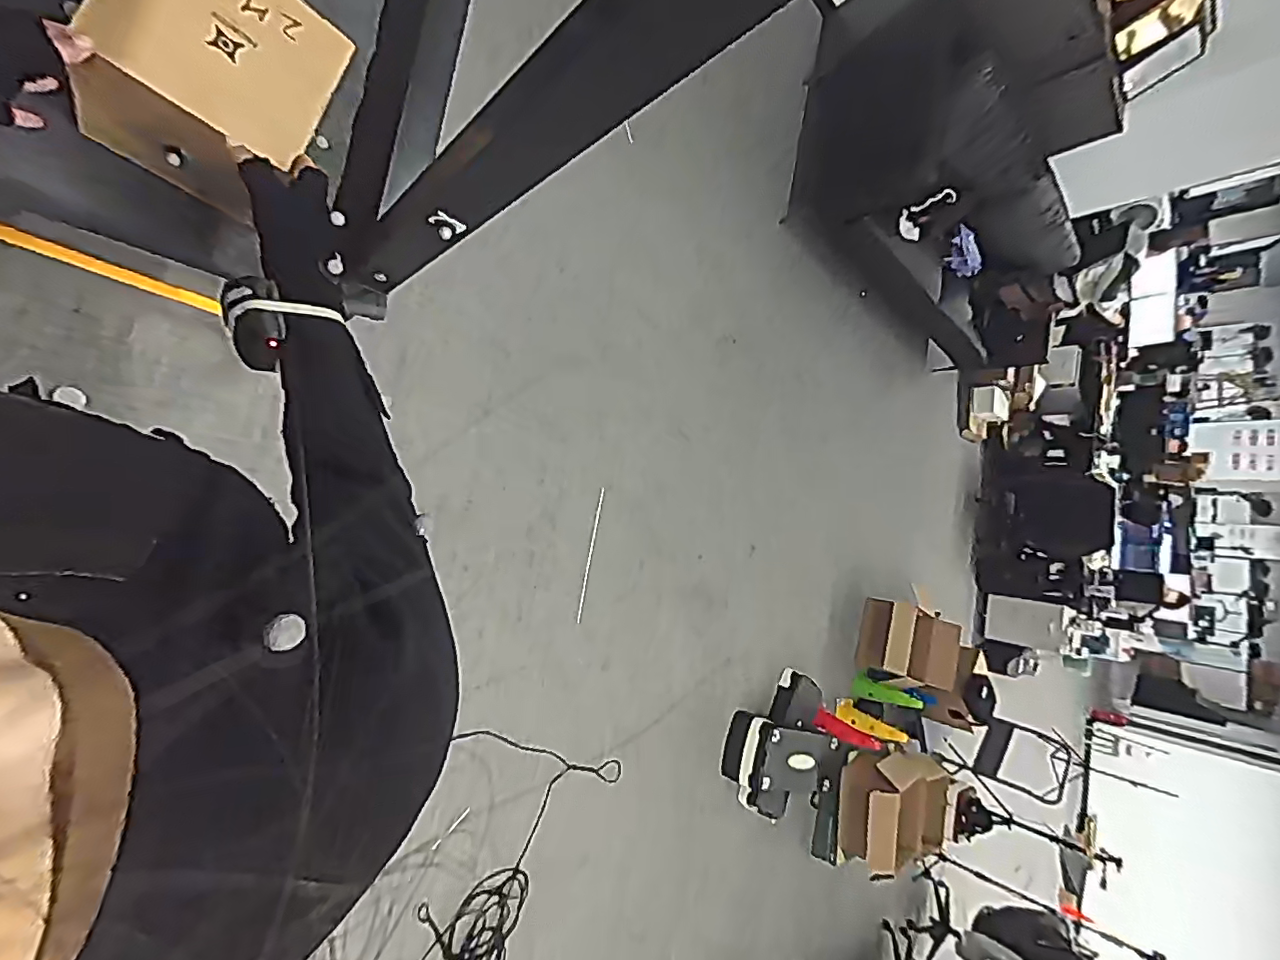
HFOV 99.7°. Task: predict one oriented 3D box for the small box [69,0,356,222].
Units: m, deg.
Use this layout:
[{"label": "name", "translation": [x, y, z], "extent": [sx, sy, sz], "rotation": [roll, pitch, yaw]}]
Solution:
[{"label": "small box", "translation": [-0.430, -0.407, 0.558], "extent": [0.168, 0.176, 0.179], "rotation": [27, 72, -40]}]
